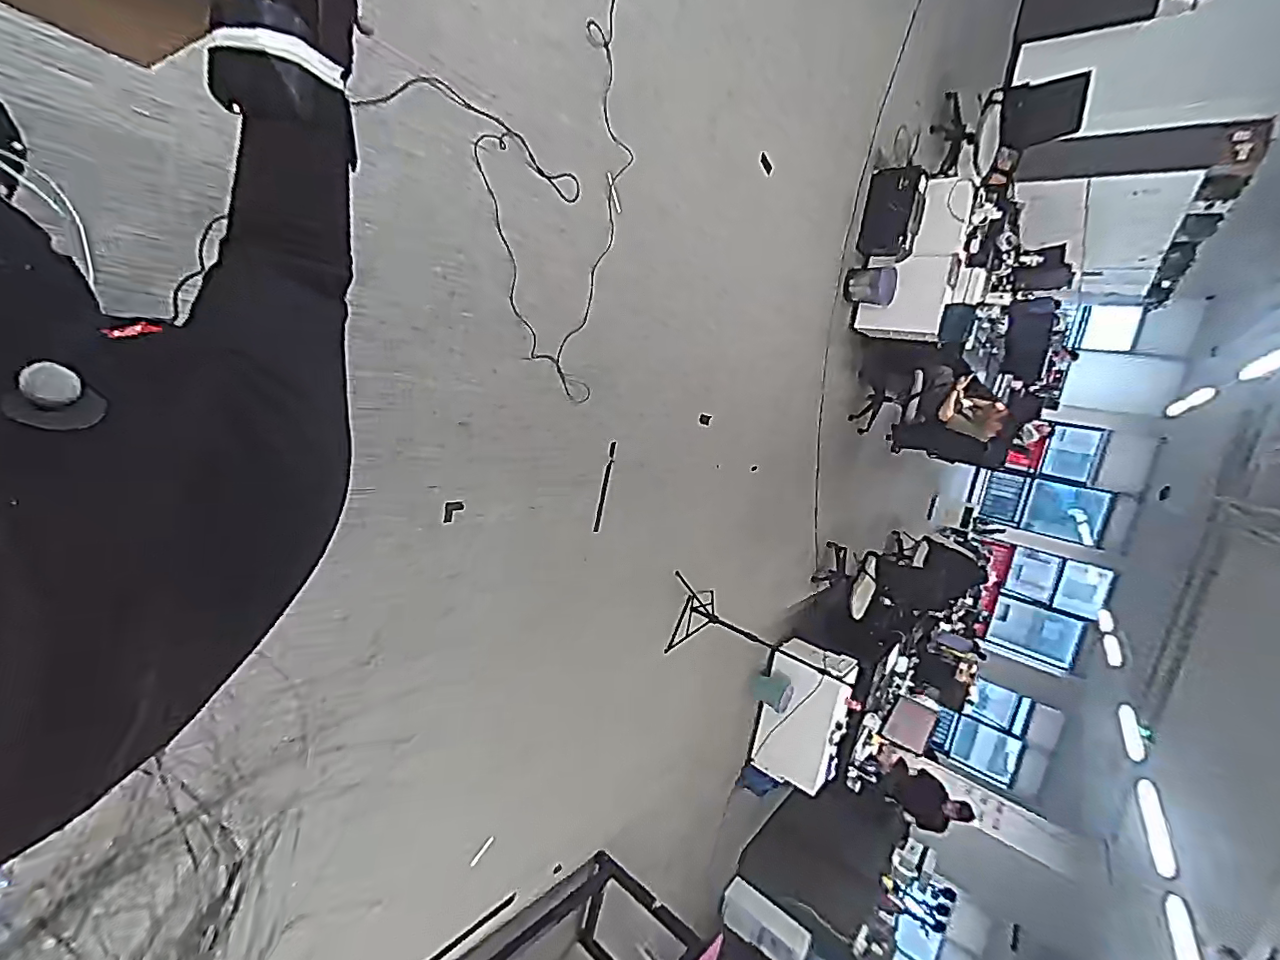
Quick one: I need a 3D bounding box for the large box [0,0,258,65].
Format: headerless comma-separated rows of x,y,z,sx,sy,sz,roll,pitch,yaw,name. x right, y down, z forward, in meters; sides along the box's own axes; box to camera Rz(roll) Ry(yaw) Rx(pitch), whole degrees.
-0.461,-0.503,0.265,0.408,0.320,0.320,-1,109,-54,large box
